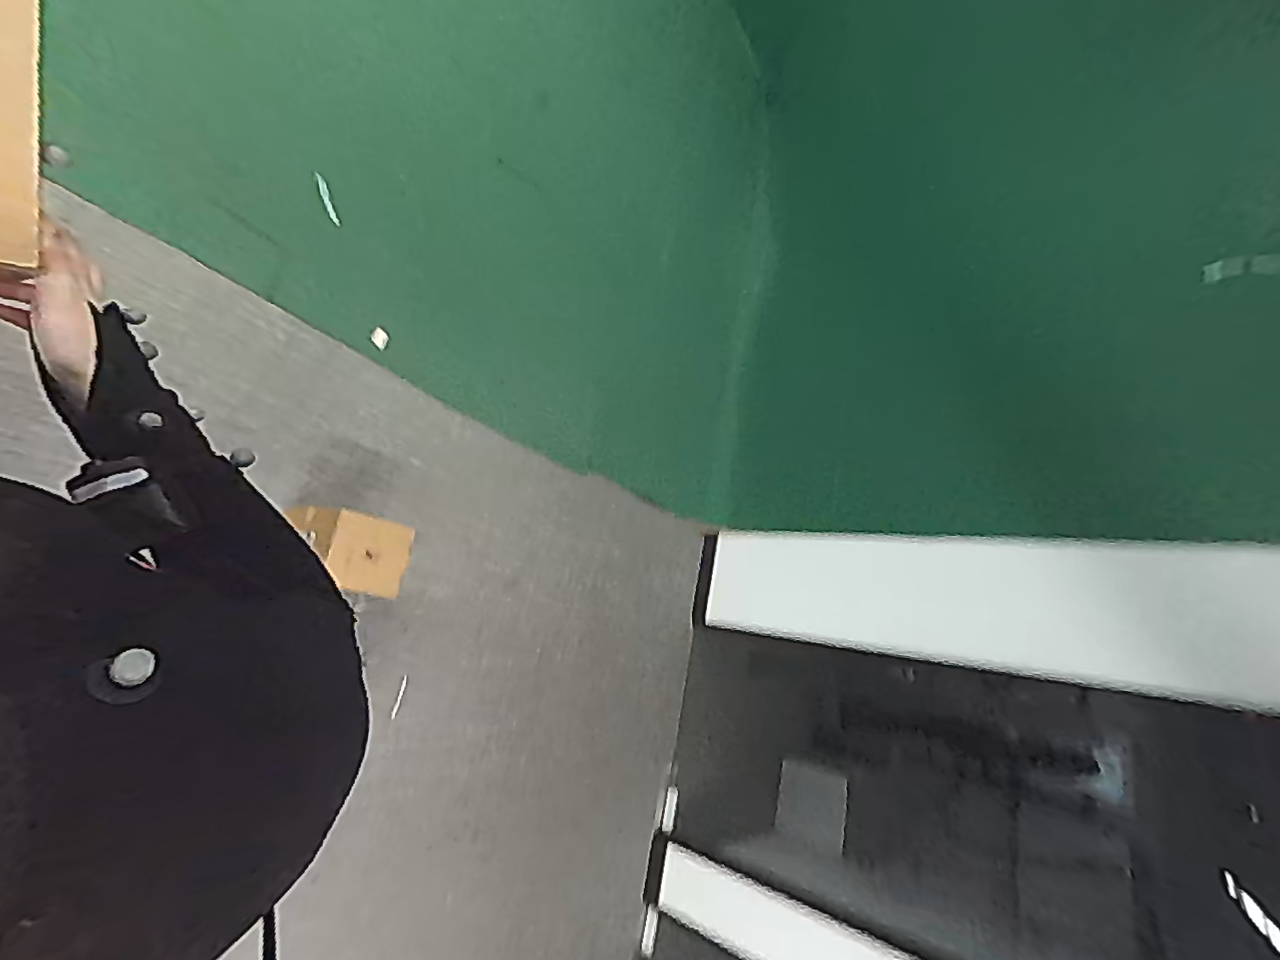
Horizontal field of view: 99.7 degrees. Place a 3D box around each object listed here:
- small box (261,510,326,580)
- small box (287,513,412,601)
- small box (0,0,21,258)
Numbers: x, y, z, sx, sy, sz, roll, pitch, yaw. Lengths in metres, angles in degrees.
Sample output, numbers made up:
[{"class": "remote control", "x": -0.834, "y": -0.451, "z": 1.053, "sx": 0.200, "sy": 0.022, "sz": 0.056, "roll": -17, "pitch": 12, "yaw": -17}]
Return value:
[{"class": "small box", "x": -0.792, "y": 0.173, "z": 1.340, "sx": 0.179, "sy": 0.176, "sz": 0.168, "roll": 27, "pitch": 67, "yaw": -47}, {"class": "small box", "x": -0.665, "y": 0.174, "z": 1.240, "sx": 0.179, "sy": 0.176, "sz": 0.168, "roll": 27, "pitch": 67, "yaw": -47}, {"class": "small box", "x": -0.465, "y": -0.228, "z": 0.285, "sx": 0.168, "sy": 0.176, "sz": 0.179, "roll": -5, "pitch": 105, "yaw": -53}]
